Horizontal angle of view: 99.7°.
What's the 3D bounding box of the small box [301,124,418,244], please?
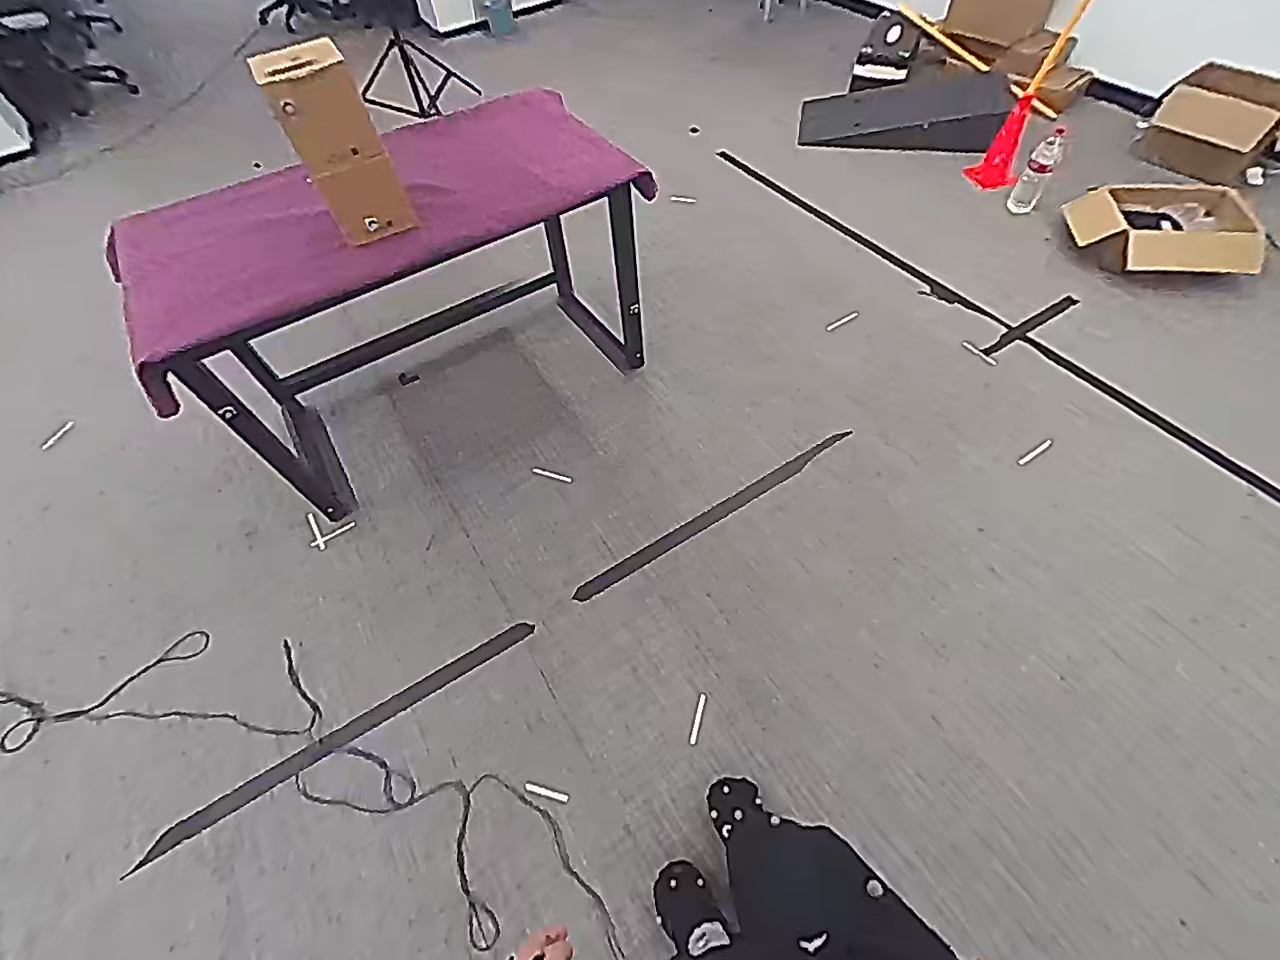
[{"bbox_3d":[-0.646,-0.686,1.258,0.168,0.176,0.179,-28,59,-13],"label":"small box"}]
